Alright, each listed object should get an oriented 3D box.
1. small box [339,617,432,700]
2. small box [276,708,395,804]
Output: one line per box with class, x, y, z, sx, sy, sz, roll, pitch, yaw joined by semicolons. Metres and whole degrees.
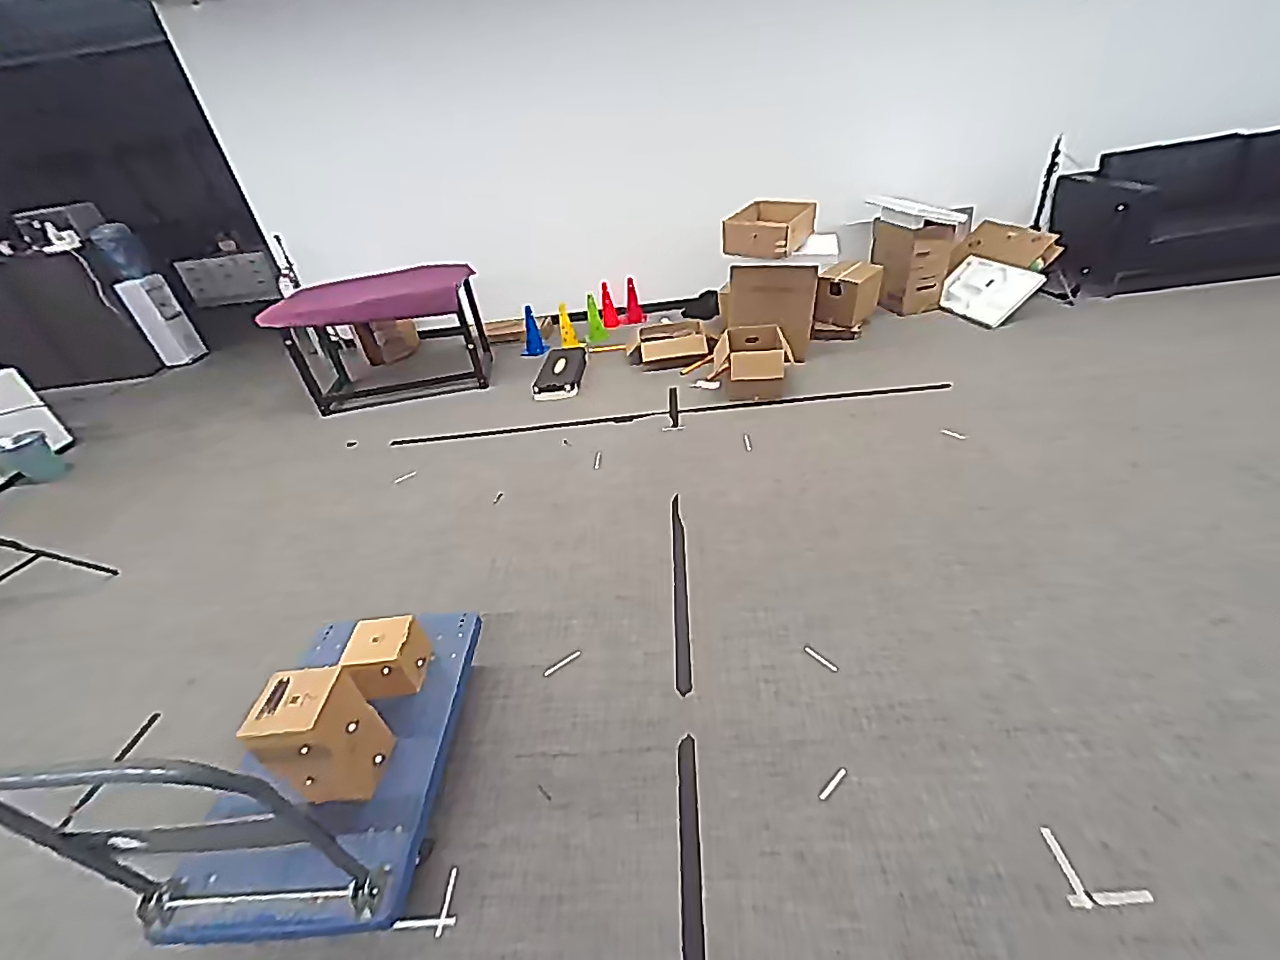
small box;-0.758;0.541;1.627;0.179;0.176;0.168;-7;35;1
small box;-0.768;0.708;1.384;0.179;0.176;0.168;-4;35;6
